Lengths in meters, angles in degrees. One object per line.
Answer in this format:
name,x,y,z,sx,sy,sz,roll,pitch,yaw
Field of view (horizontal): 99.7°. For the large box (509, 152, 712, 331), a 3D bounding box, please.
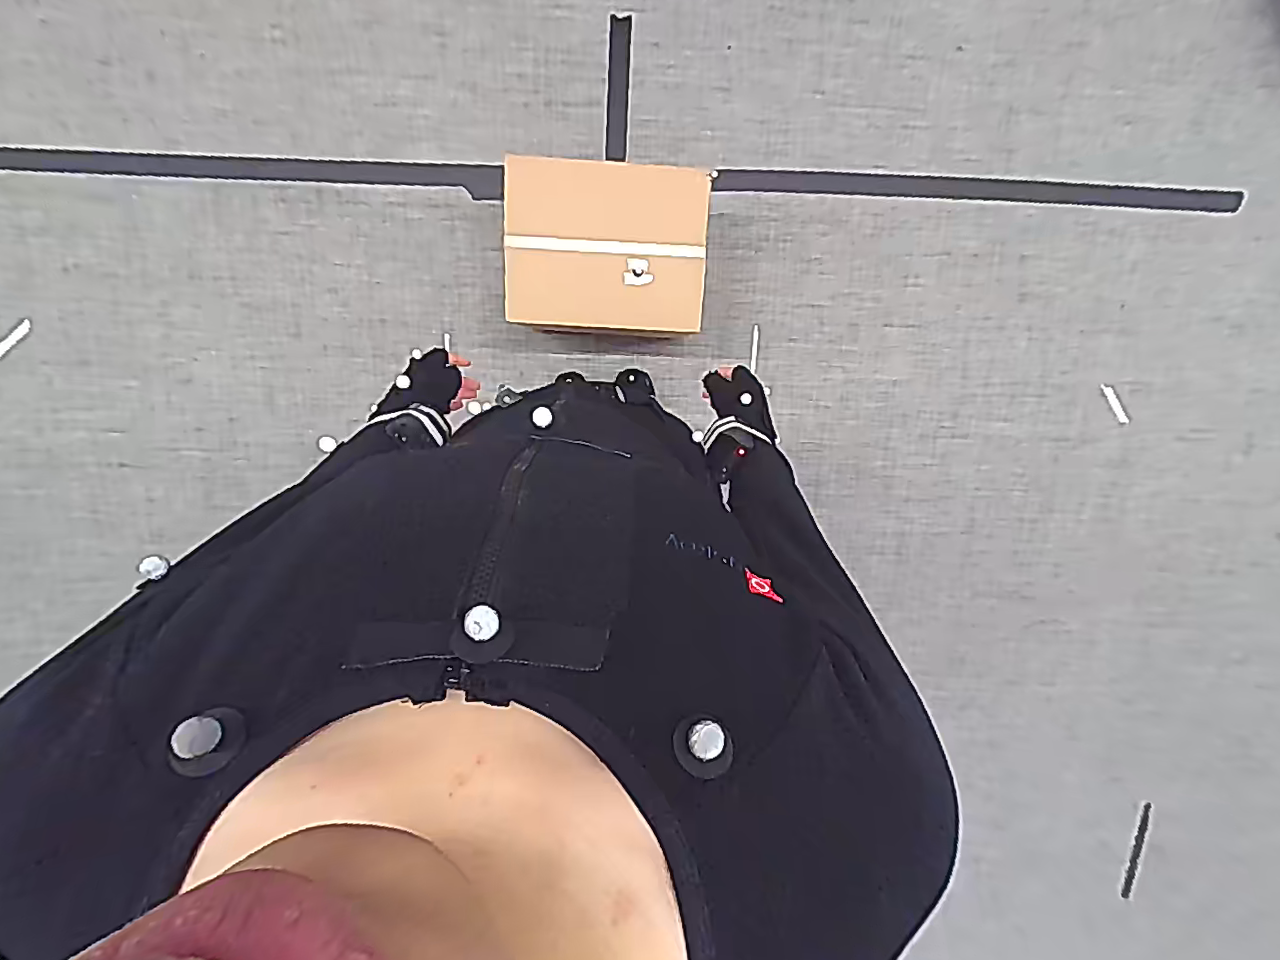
large box,-0.070,-0.511,1.229,0.408,0.320,0.320,2,104,-4
